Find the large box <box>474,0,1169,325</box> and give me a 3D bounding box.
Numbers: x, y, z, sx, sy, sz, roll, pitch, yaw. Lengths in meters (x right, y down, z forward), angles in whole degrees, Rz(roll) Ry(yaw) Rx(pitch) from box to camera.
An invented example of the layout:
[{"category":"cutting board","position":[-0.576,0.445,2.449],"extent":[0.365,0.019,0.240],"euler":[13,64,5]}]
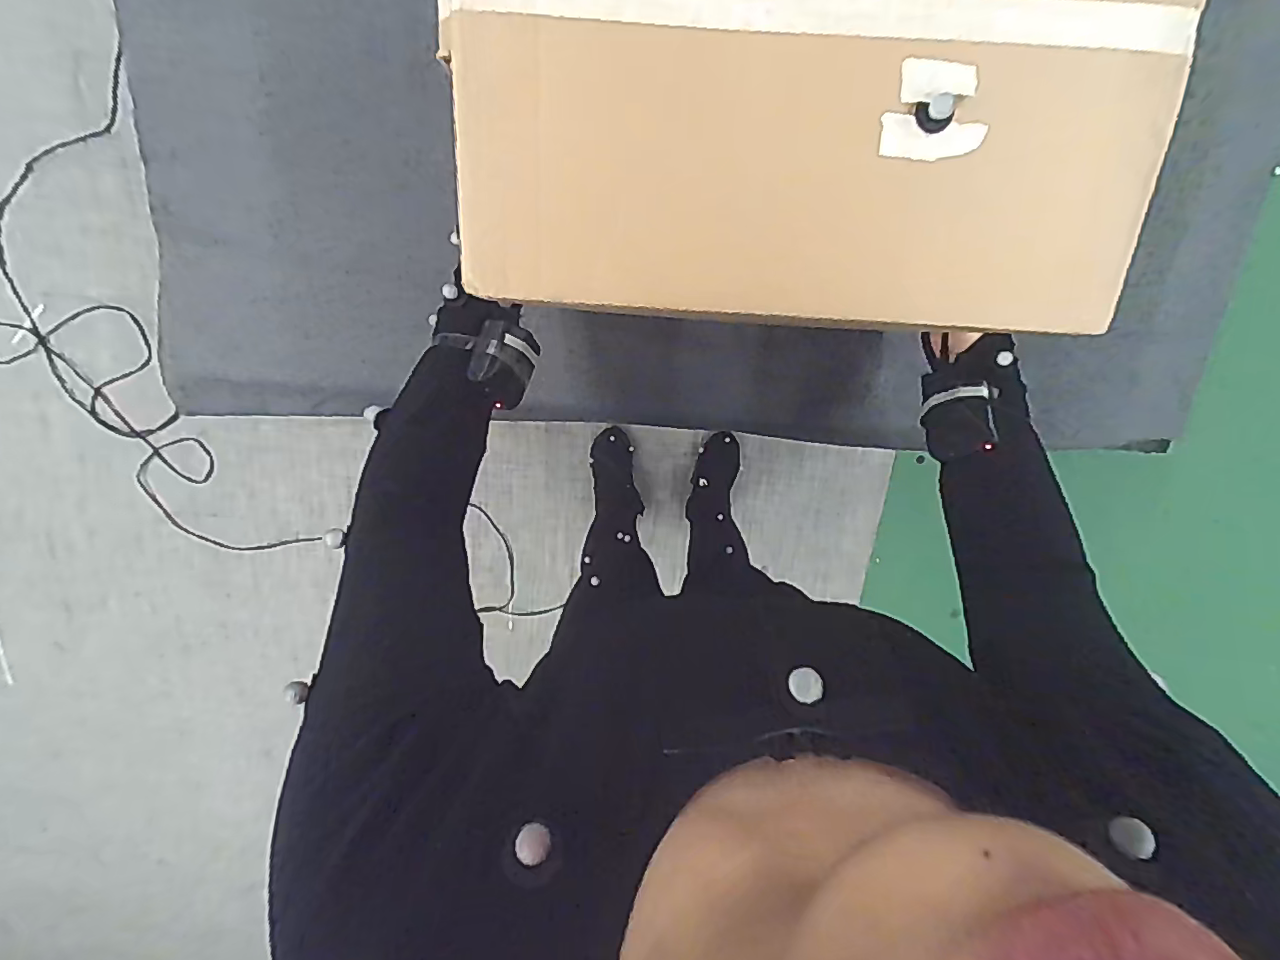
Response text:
[{"category":"large box","position":[0.100,-0.300,0.457],"extent":[0.408,0.320,0.320],"euler":[3,106,-1]}]
